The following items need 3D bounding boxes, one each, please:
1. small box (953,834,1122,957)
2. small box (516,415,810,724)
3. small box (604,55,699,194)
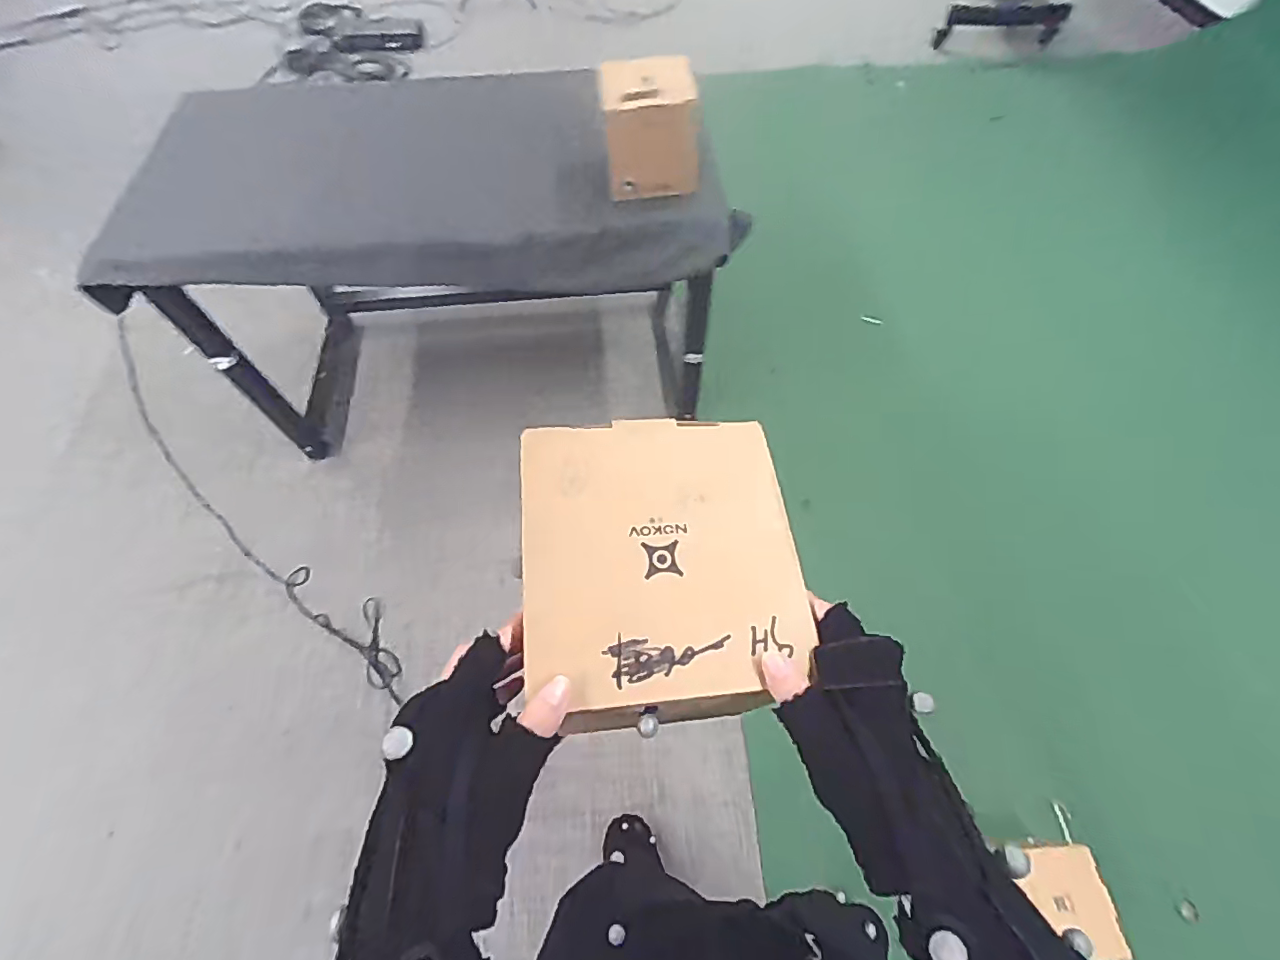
[{"bbox_3d":[0.752,0.793,1.047,0.179,0.176,0.168,-4,60,0],"label":"small box"},{"bbox_3d":[-0.003,0.071,0.401,0.168,0.176,0.179,-3,62,-9],"label":"small box"},{"bbox_3d":[0.023,-0.675,1.041,0.168,0.176,0.179,-5,59,0],"label":"small box"}]
